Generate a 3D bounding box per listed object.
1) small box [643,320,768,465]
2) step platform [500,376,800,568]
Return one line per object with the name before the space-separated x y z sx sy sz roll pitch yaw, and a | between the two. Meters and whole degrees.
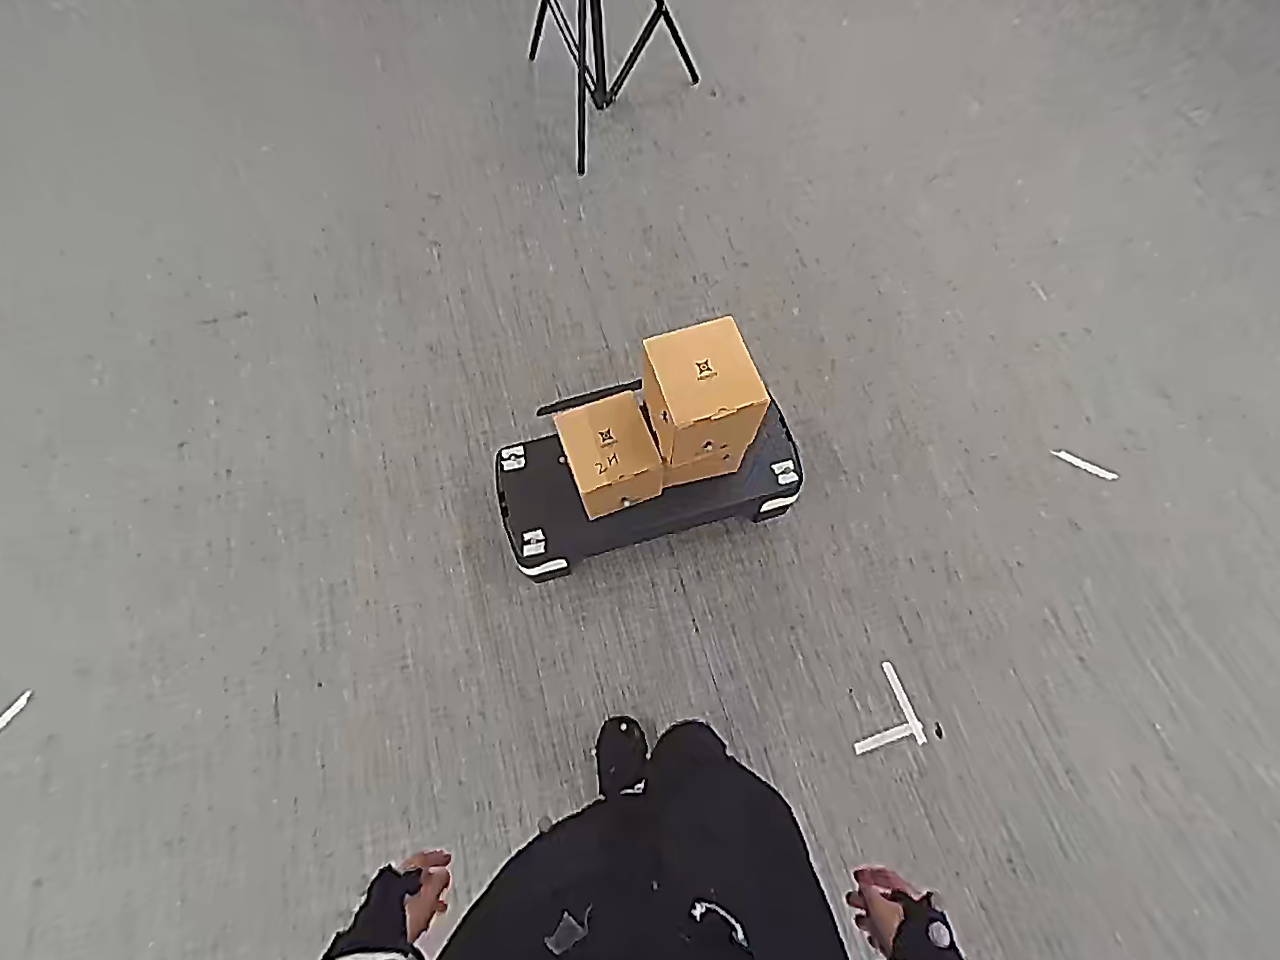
small box | 0.105 -0.151 0.975 0.168 0.176 0.179 -17 71 -7
step platform | 0.022 -0.021 1.285 0.684 0.204 0.286 -16 69 -5
